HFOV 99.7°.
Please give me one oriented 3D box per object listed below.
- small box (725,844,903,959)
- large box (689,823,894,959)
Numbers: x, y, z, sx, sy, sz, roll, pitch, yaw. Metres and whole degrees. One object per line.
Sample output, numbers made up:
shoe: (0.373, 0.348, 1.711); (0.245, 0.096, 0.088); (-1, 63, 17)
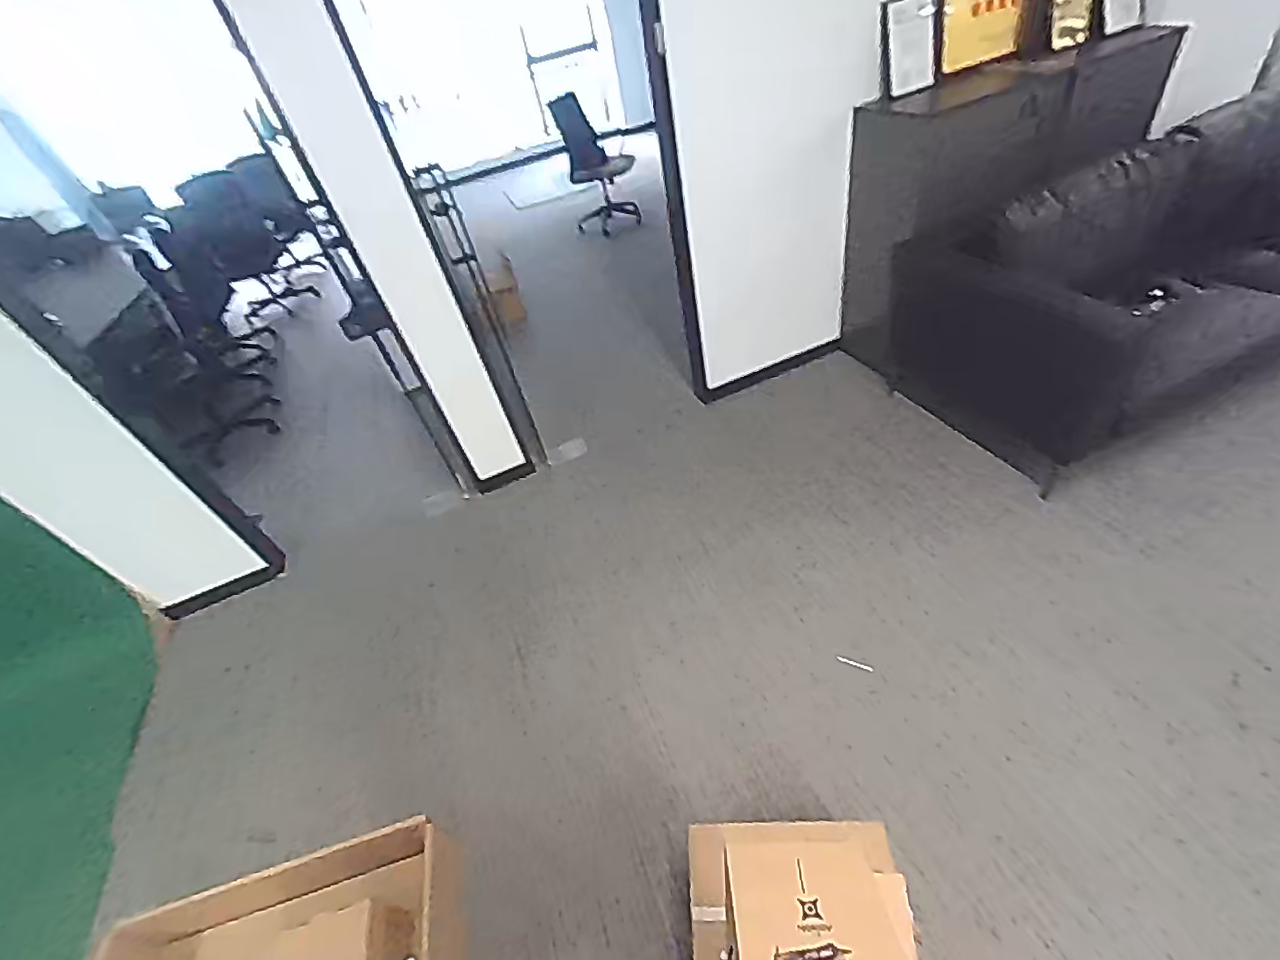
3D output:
small box: (0.185, 0.543, 0.594); (0.168, 0.176, 0.179); (-2, 17, 3)
large box: (0.327, 0.940, 1.125); (0.408, 0.320, 0.320); (-7, 42, 9)
